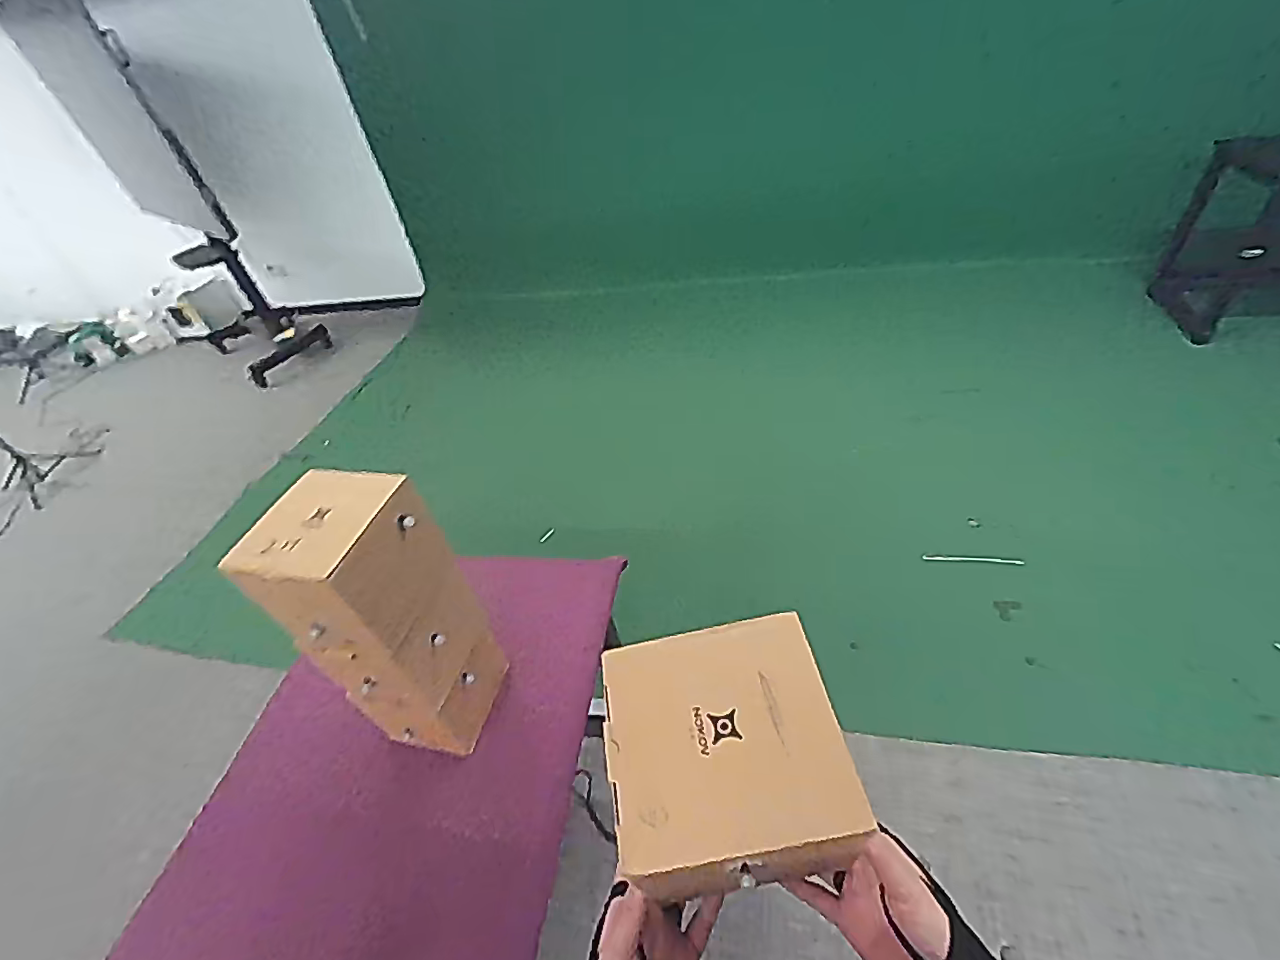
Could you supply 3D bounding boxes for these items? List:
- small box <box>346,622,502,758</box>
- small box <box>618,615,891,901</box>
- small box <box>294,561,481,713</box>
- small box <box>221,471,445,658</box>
[{"bbox_3d":[-0.362,0.355,0.949,0.168,0.176,0.179,4,45,15],"label":"small box"},{"bbox_3d":[0.087,0.244,0.468,0.179,0.176,0.168,-11,46,2],"label":"small box"},{"bbox_3d":[-0.372,0.235,0.837,0.168,0.176,0.179,5,45,15],"label":"small box"},{"bbox_3d":[-0.389,0.111,0.729,0.168,0.176,0.179,4,44,16],"label":"small box"}]
